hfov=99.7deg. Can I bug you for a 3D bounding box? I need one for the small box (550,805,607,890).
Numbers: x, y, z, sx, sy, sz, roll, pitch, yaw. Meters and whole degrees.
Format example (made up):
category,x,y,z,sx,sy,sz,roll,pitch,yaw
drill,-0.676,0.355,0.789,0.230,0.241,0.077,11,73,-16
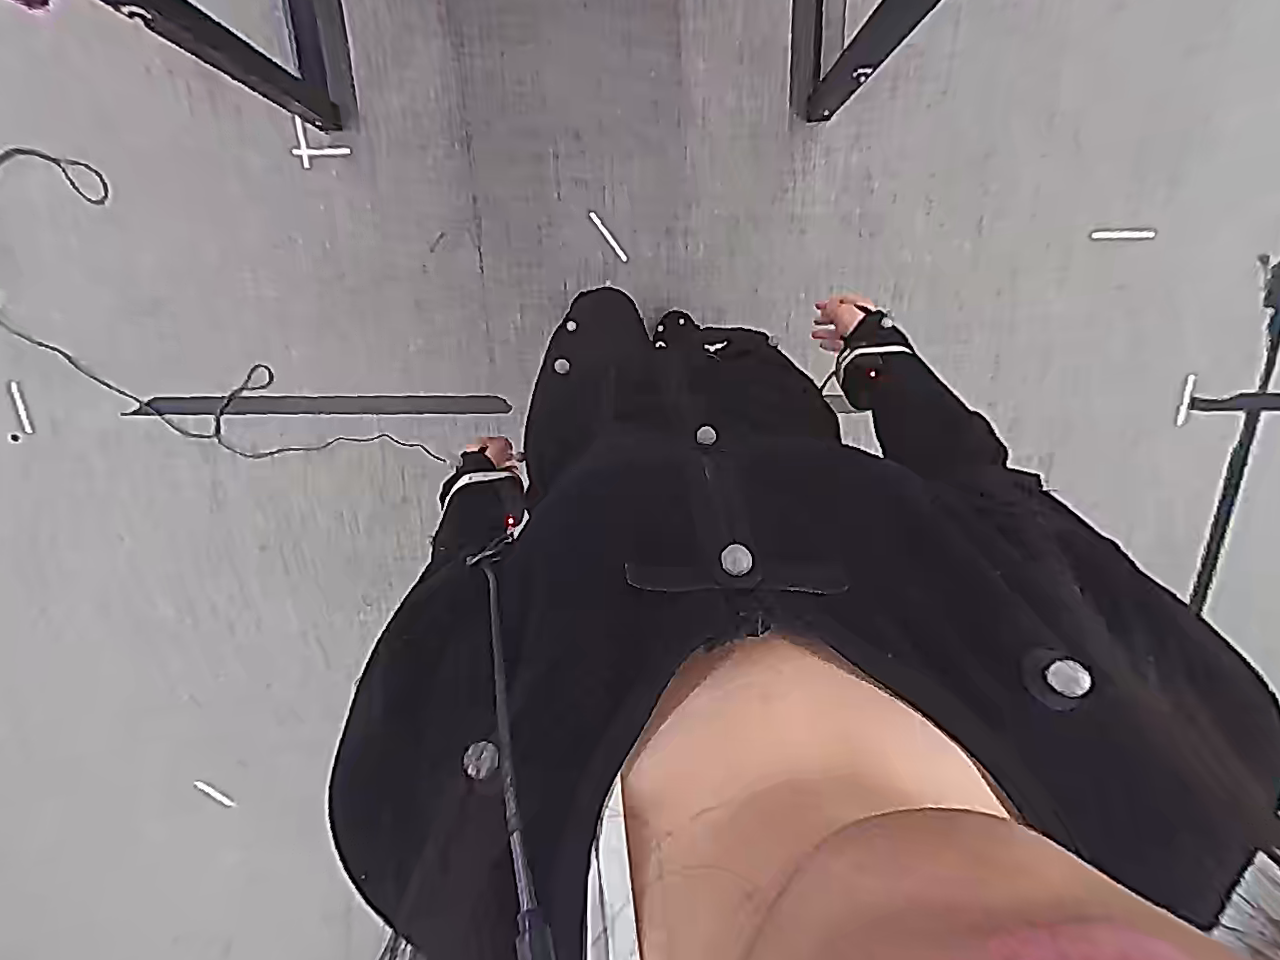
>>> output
category,x,y,z,sx,sy,sz,roll,pitch,yaw
small box,-0.197,1.205,1.781,0.168,0.176,0.179,-1,107,2
